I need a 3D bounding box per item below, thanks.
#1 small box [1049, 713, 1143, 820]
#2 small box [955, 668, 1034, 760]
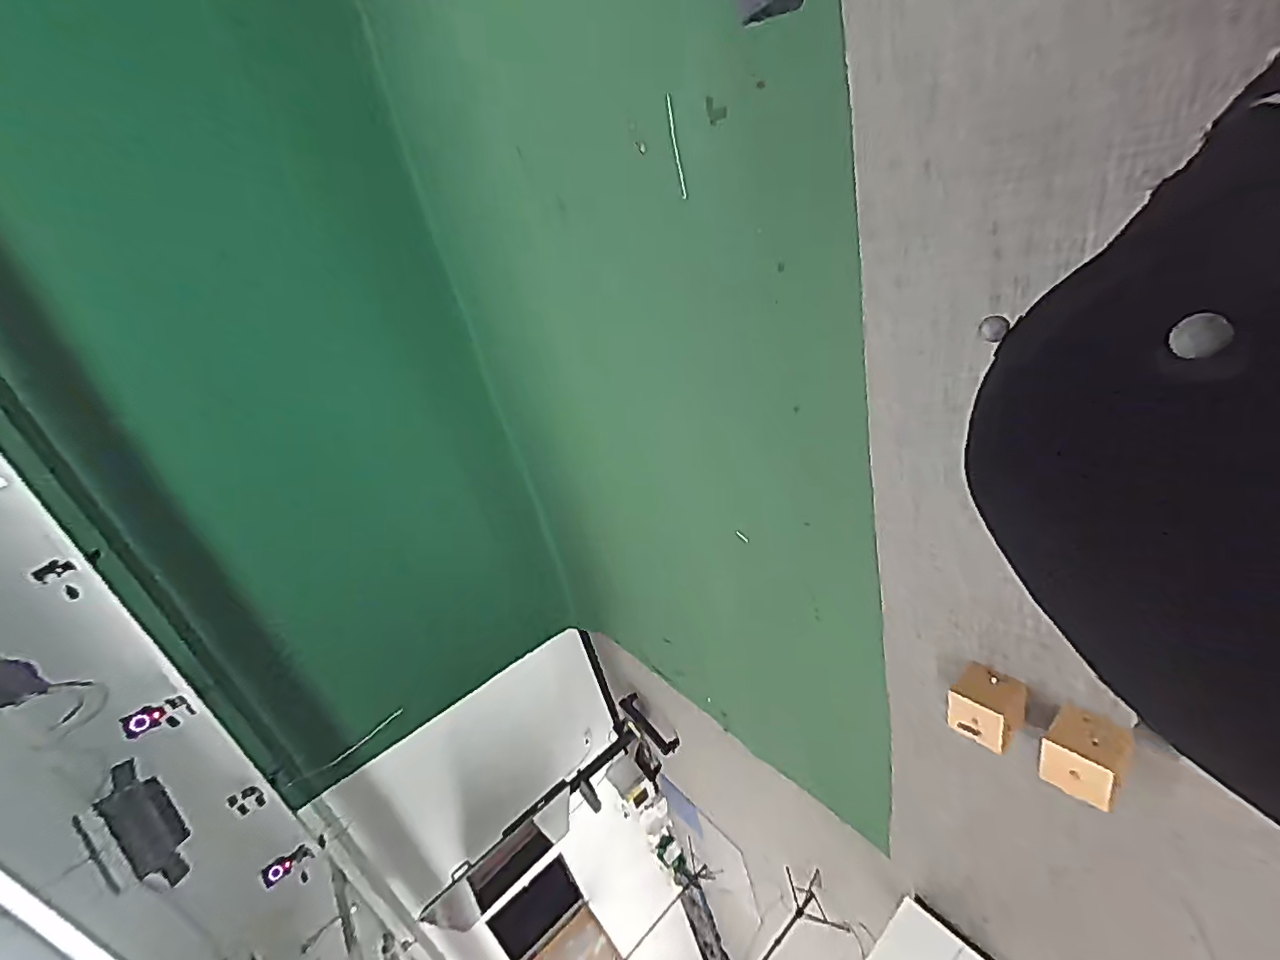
[{"bbox_3d":[1.315,0.816,1.560,0.168,0.176,0.179,18,130,52],"label":"small box"},{"bbox_3d":[1.156,0.756,1.762,0.168,0.176,0.179,19,129,51],"label":"small box"}]
